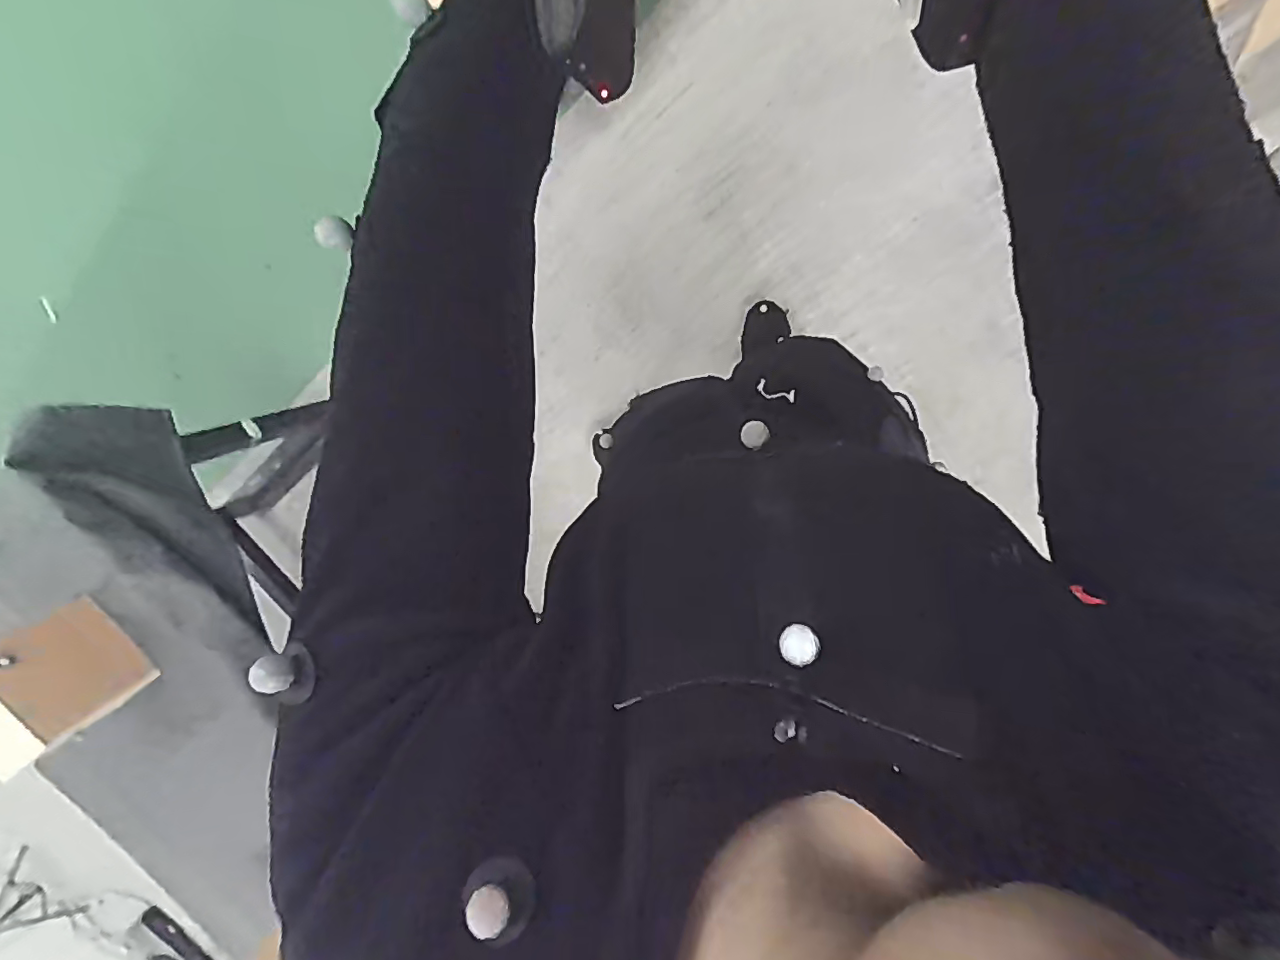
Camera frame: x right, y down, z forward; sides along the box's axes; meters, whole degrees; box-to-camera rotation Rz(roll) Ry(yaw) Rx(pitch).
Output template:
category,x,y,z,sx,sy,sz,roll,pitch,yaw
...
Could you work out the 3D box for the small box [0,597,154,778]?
category,x,y,z,sx,sy,sz,roll,pitch,yaw
small box,-0.939,0.320,0.853,0.168,0.176,0.179,-33,99,20
